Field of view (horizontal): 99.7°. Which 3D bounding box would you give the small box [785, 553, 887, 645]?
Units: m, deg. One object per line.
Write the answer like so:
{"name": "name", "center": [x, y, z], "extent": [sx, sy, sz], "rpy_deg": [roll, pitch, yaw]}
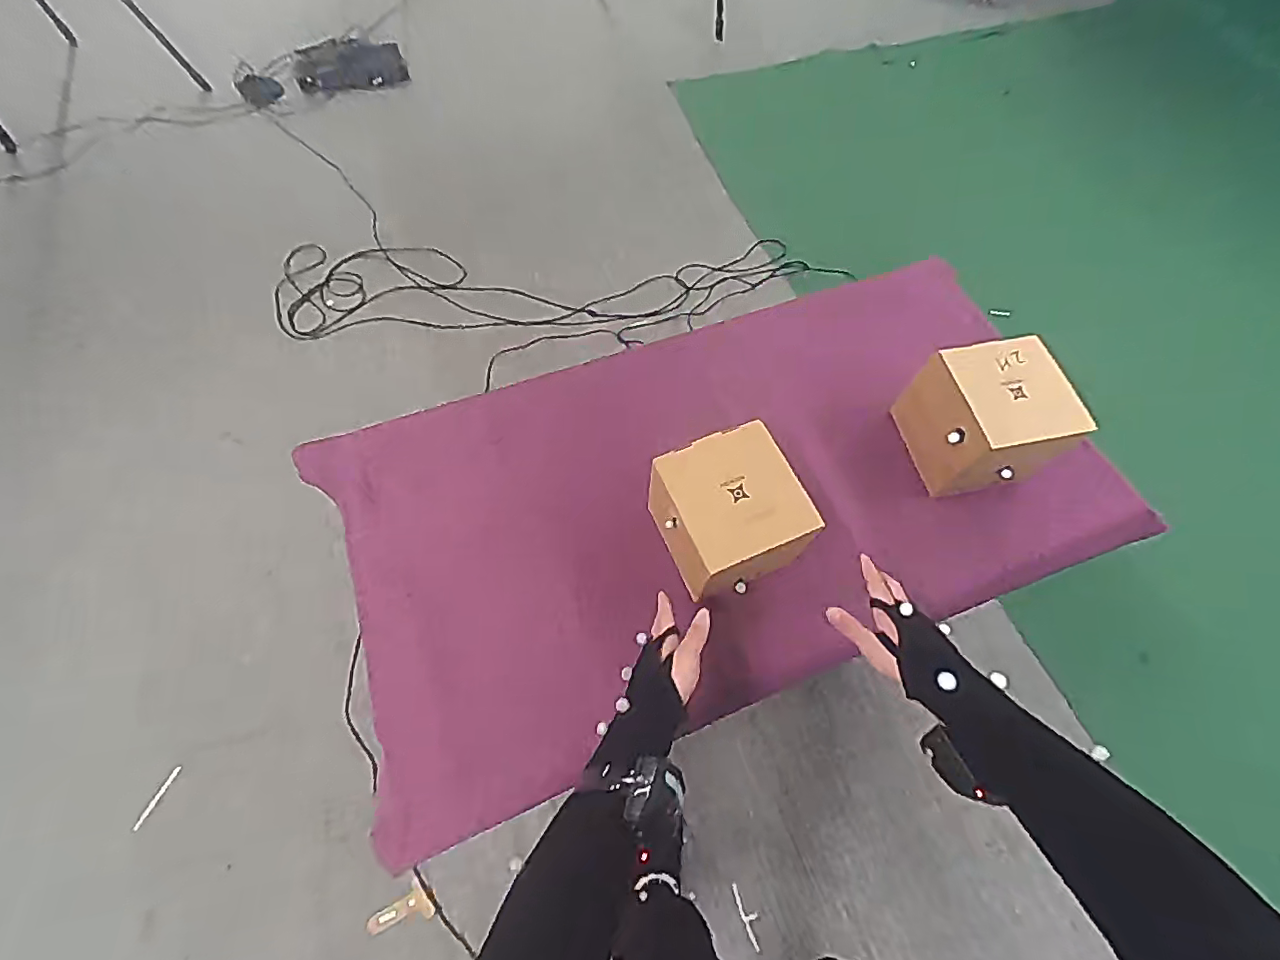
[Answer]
{"name": "small box", "center": [0.514, 0.326, 1.445], "extent": [0.168, 0.176, 0.179], "rpy_deg": [-21, 66, -12]}

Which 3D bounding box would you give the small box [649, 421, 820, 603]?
{"name": "small box", "center": [0.118, 0.051, 0.766], "extent": [0.168, 0.176, 0.179], "rpy_deg": [-21, 67, -10]}

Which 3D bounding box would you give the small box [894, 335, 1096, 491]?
{"name": "small box", "center": [0.533, -0.095, 0.843], "extent": [0.168, 0.176, 0.179], "rpy_deg": [-10, 65, -6]}
